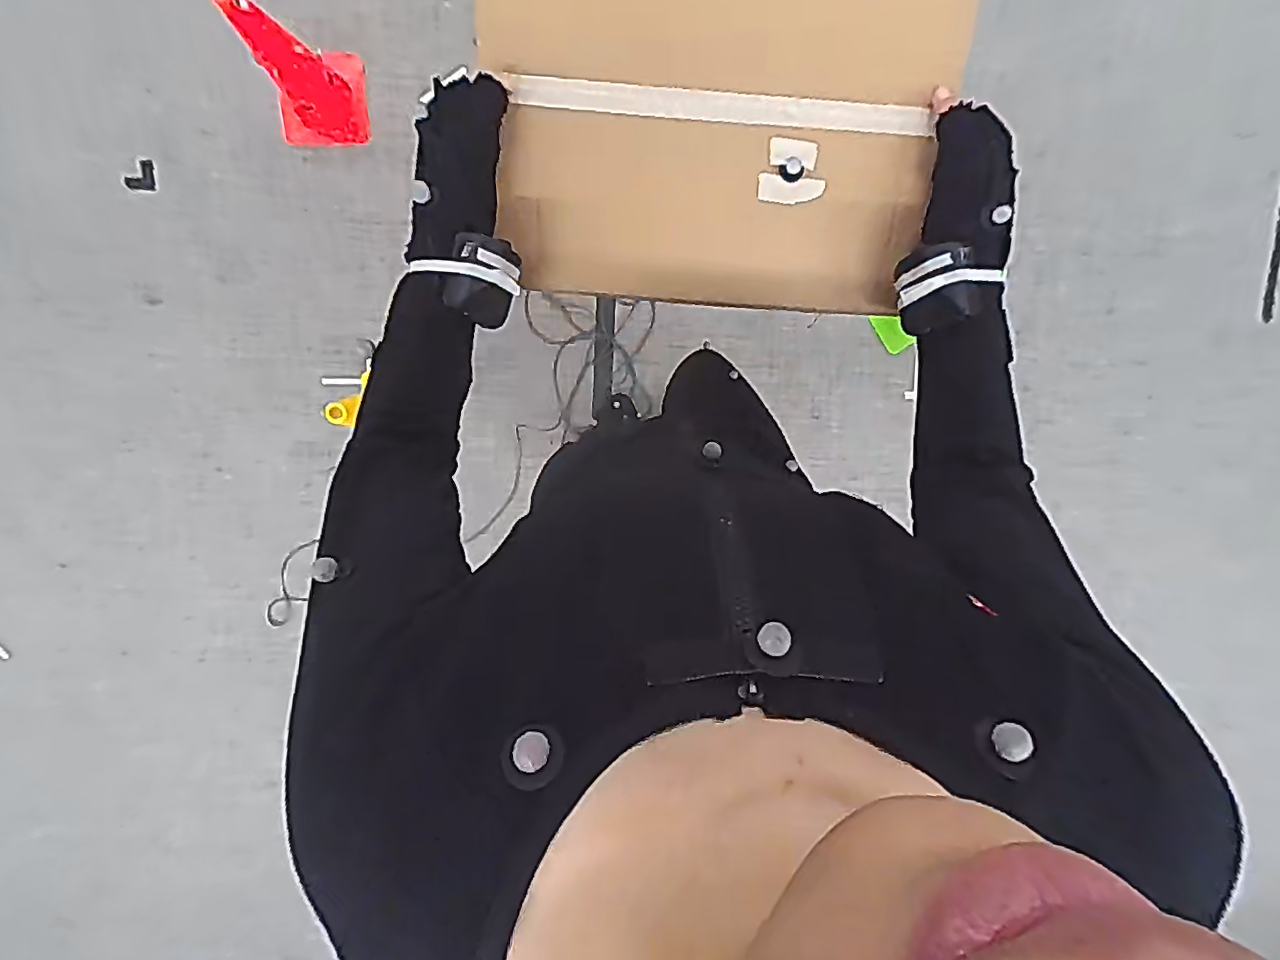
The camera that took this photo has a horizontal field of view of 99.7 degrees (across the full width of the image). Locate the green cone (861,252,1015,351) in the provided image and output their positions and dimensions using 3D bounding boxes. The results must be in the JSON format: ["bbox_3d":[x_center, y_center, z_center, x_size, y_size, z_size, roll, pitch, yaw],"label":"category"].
[{"bbox_3d":[0.720,-0.450,1.266,0.202,0.368,0.200,-36,99,1],"label":"green cone"}]

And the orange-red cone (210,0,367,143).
[{"bbox_3d":[-0.748,-0.882,1.121,0.198,0.360,0.199,-1,100,-2],"label":"orange-red cone"}]

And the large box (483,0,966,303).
[{"bbox_3d":[0.061,-0.371,0.604,0.408,0.320,0.320,3,108,-3],"label":"large box"}]
